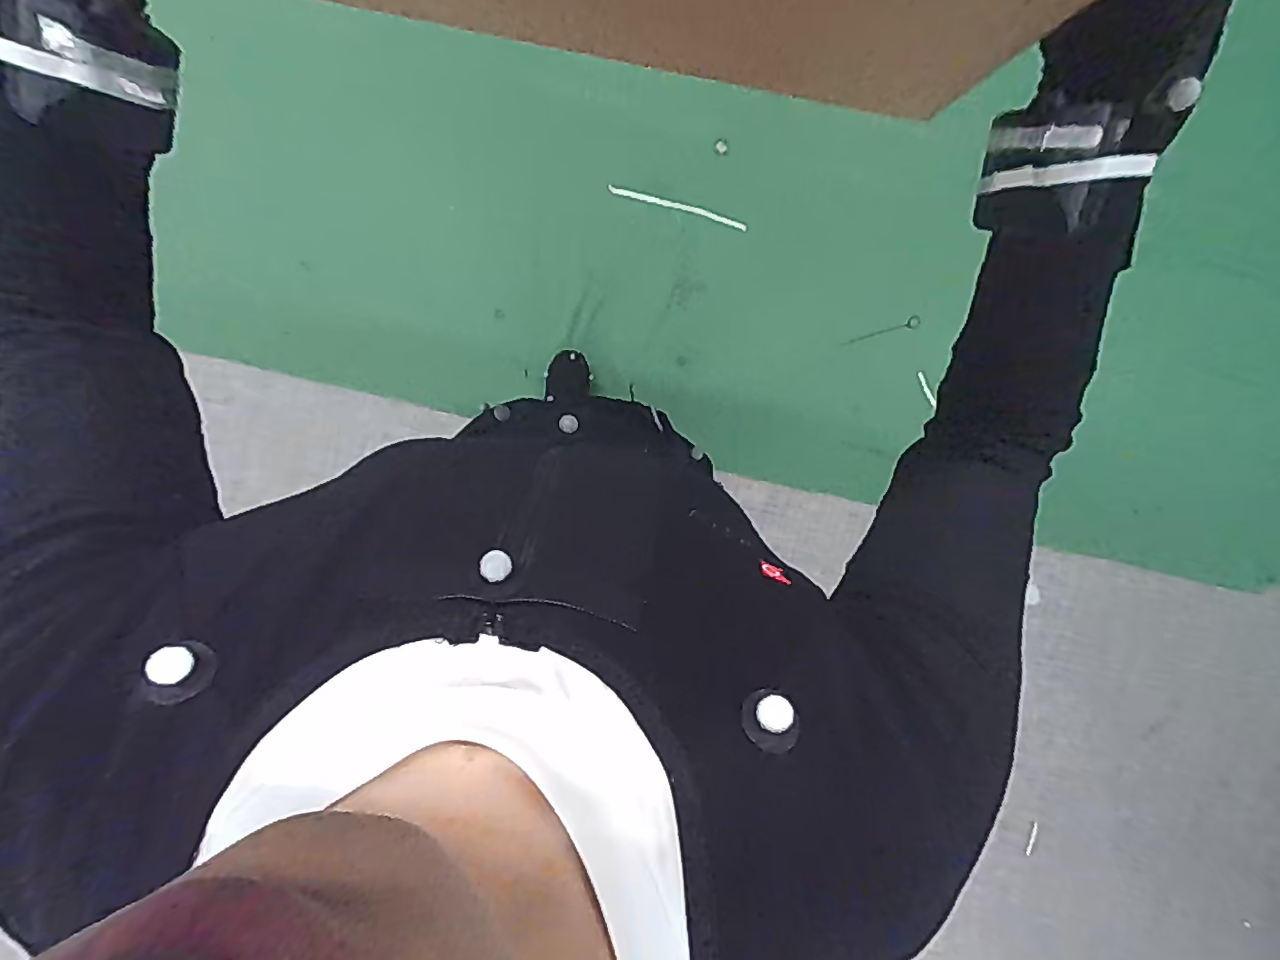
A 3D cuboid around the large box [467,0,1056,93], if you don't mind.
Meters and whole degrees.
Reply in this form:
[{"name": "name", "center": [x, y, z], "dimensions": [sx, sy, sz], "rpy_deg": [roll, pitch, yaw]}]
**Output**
[{"name": "large box", "center": [0.026, -0.377, 0.147], "dimensions": [0.408, 0.320, 0.320], "rpy_deg": [7, 104, -7]}]
